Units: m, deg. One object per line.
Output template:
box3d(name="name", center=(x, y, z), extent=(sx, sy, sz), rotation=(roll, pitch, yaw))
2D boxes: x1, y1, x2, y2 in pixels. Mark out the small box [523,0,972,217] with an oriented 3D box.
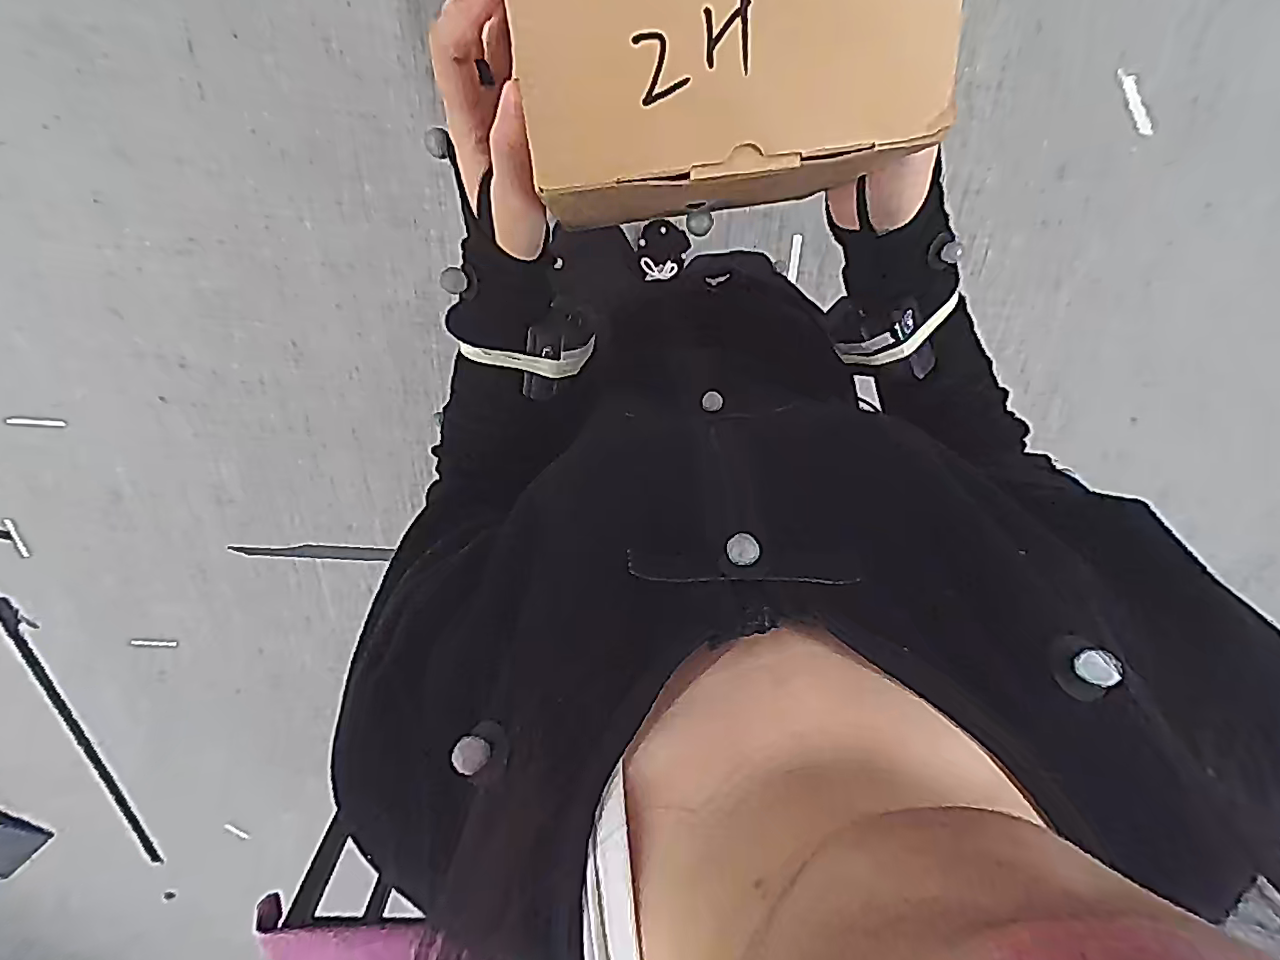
box3d(name="small box", center=(0.029, -0.237, 0.255), extent=(0.168, 0.176, 0.179), rotation=(-8, 111, -1))
